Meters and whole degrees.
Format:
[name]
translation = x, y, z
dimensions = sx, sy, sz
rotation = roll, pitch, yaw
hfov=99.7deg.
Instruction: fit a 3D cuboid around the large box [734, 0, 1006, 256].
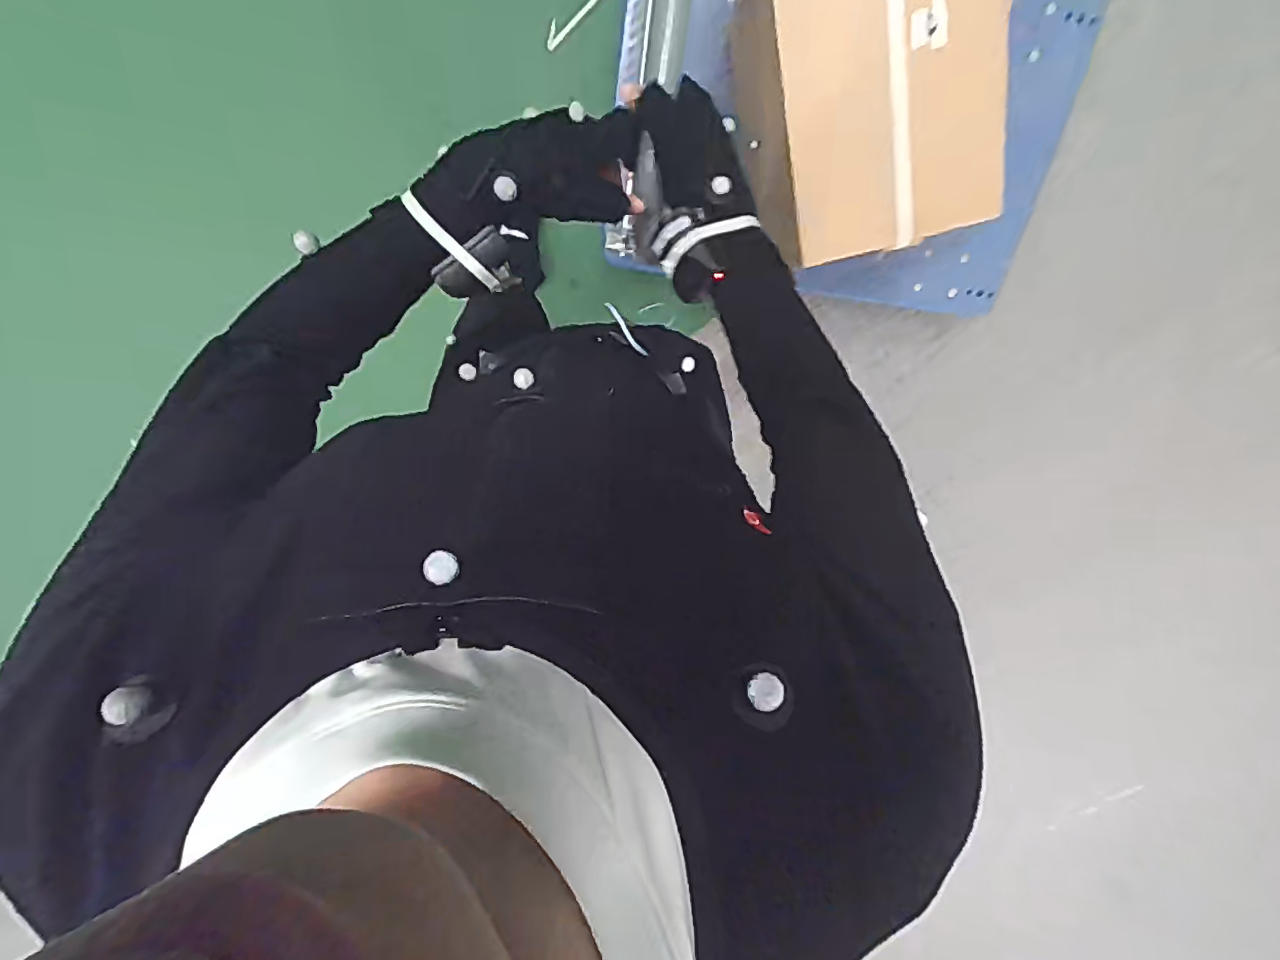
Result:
[large box]
translation = 0.363, -0.625, 0.905
dimensions = 0.320, 0.320, 0.408
rotation = -13, 113, 5
